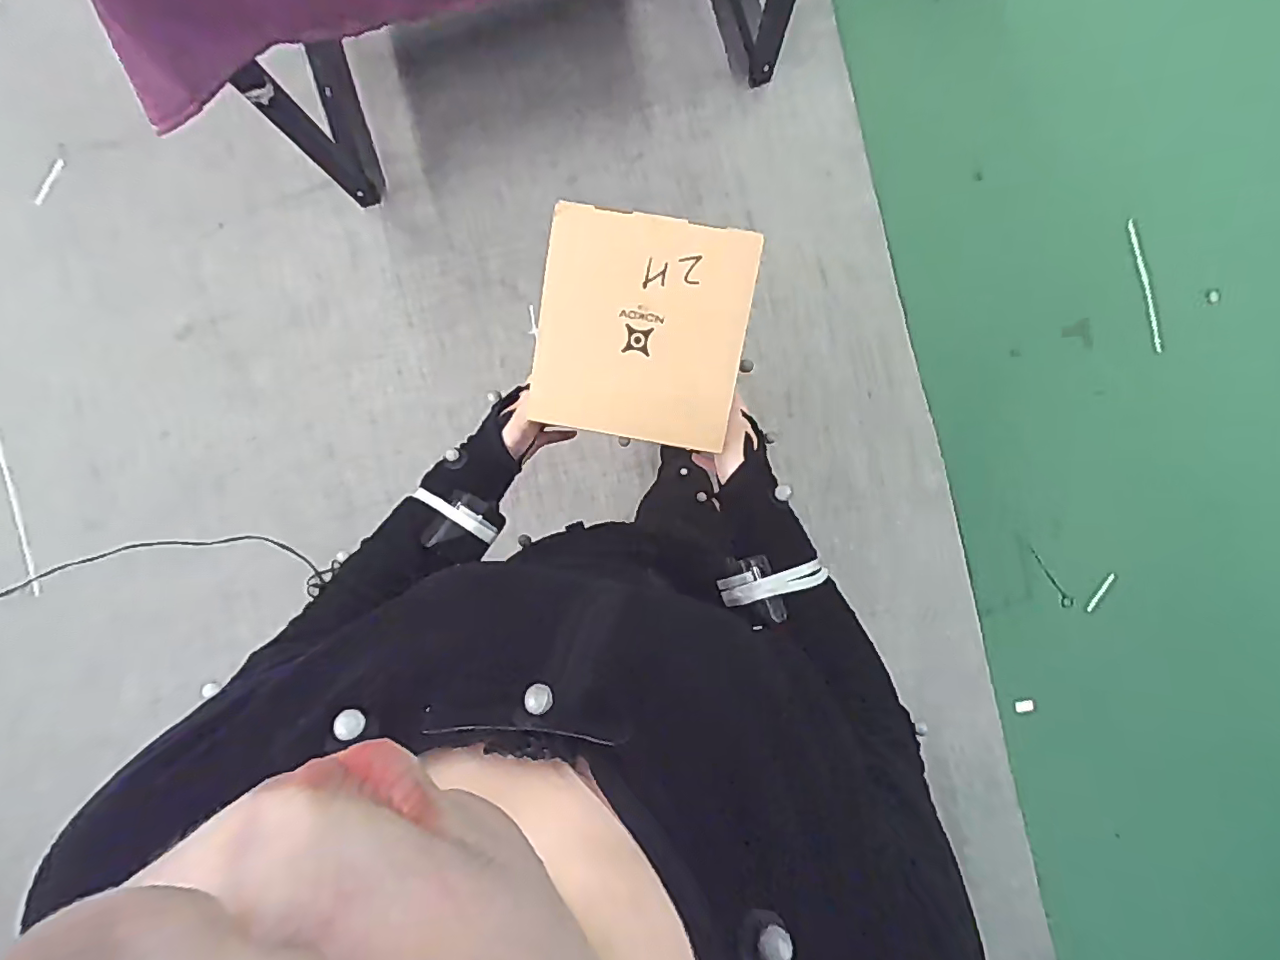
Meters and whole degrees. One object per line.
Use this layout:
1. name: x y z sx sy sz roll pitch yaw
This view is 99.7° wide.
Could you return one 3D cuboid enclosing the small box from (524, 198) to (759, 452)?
1. small box: 0.004 -0.132 0.510 0.168 0.176 0.179 11 98 2
